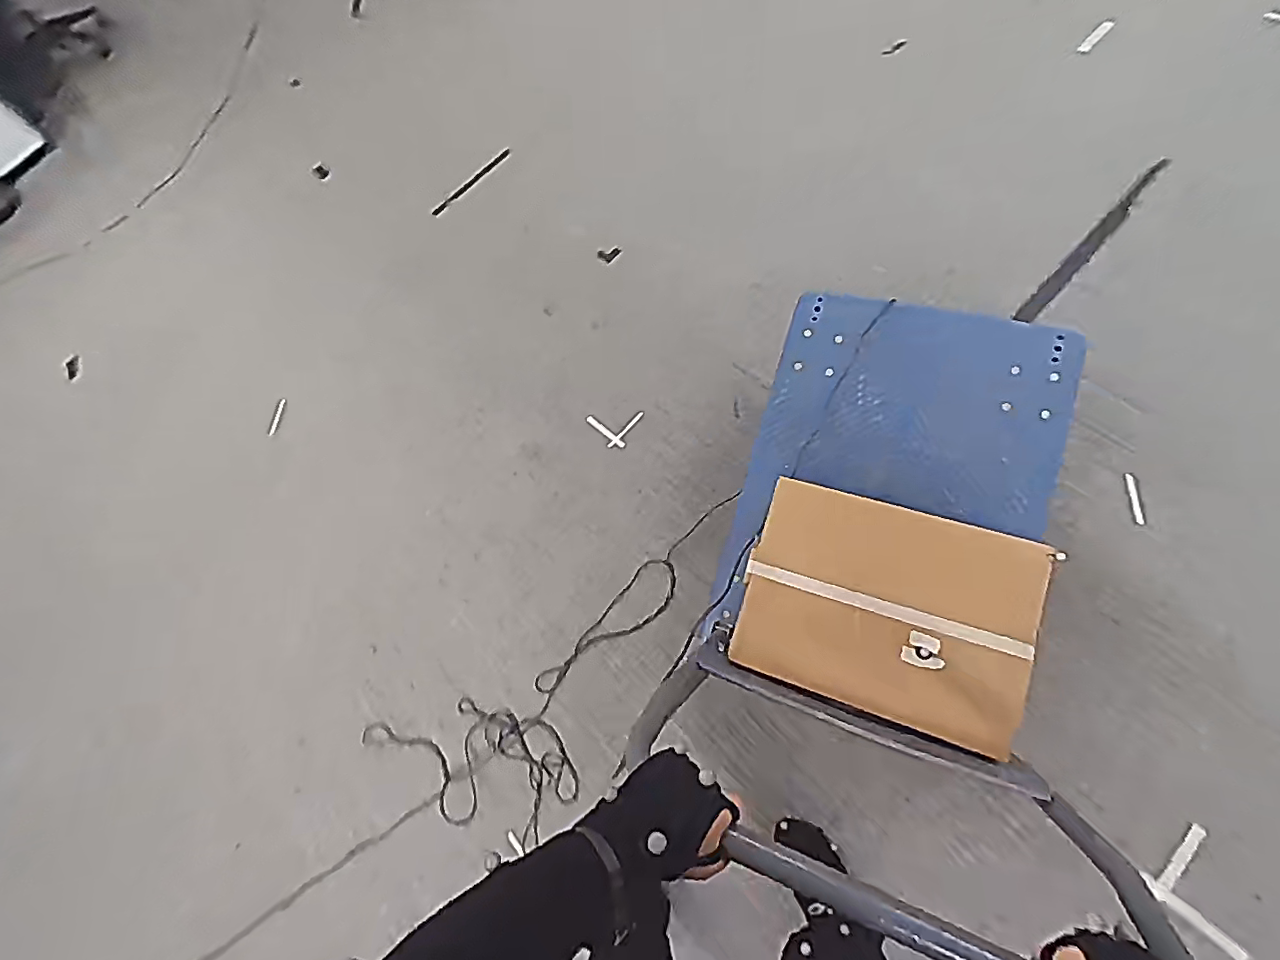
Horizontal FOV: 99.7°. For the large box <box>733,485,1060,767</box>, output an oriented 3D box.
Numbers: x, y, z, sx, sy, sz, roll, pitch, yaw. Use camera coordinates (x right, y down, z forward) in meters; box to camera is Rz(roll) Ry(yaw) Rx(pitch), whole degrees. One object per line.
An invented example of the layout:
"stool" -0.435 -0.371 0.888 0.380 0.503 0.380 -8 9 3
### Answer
"large box" 0.404 0.227 0.945 0.408 0.320 0.320 16 84 17
